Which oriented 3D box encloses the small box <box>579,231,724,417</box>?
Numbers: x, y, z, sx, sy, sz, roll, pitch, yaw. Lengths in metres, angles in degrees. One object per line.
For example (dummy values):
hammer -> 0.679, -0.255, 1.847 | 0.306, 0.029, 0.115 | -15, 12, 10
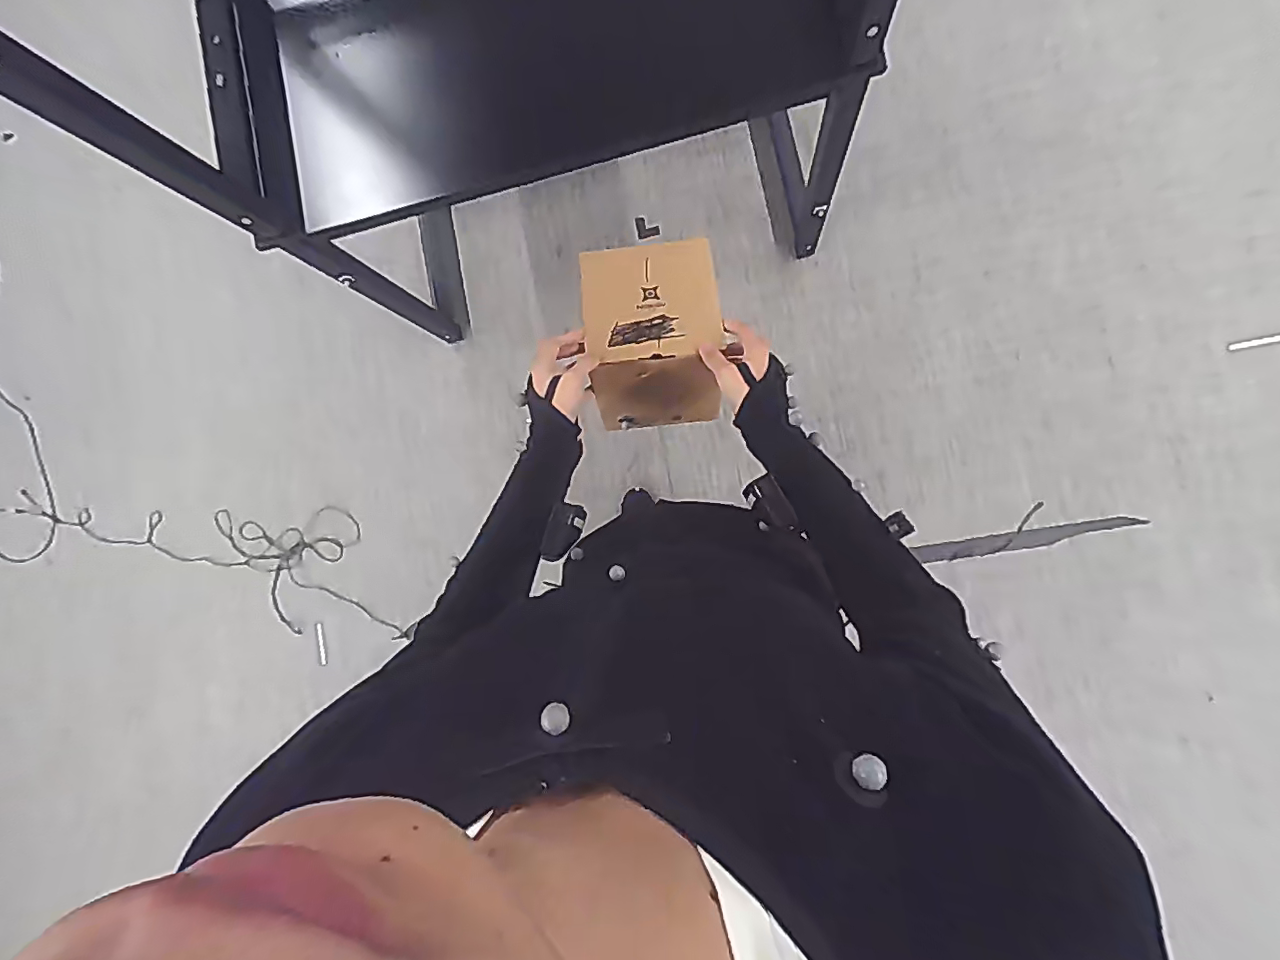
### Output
small box -> 0.016, -0.195, 0.721 | 0.168, 0.176, 0.179 | -6, 68, 1
